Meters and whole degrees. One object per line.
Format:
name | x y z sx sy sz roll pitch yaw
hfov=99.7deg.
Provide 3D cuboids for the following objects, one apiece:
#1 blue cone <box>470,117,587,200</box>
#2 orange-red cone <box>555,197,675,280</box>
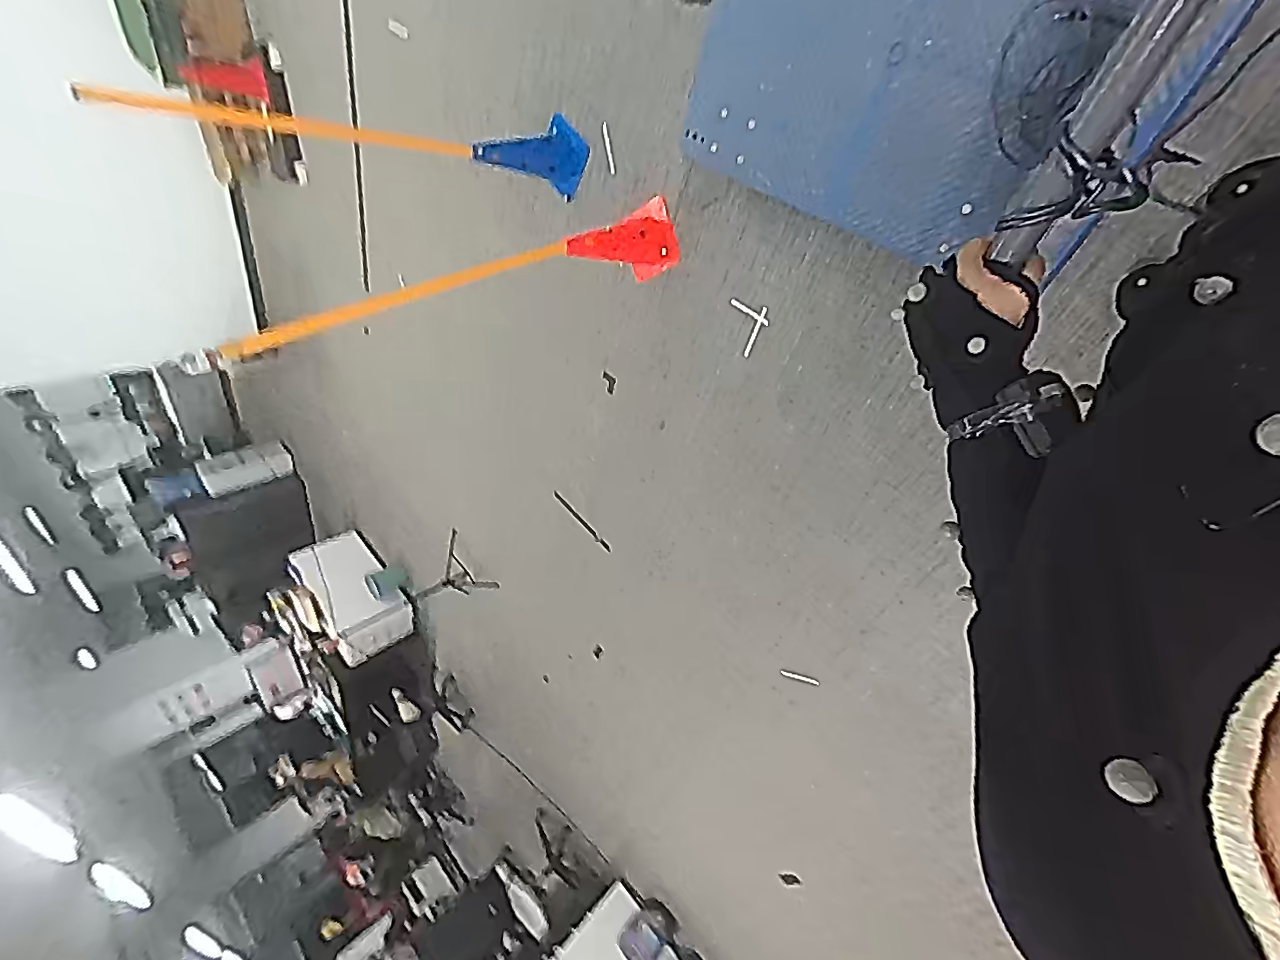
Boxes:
blue cone | -0.367 -1.013 1.690 0.192 0.380 0.193 52 138 12
orange-red cone | -0.096 -0.686 1.560 0.198 0.360 0.199 -7 104 46
